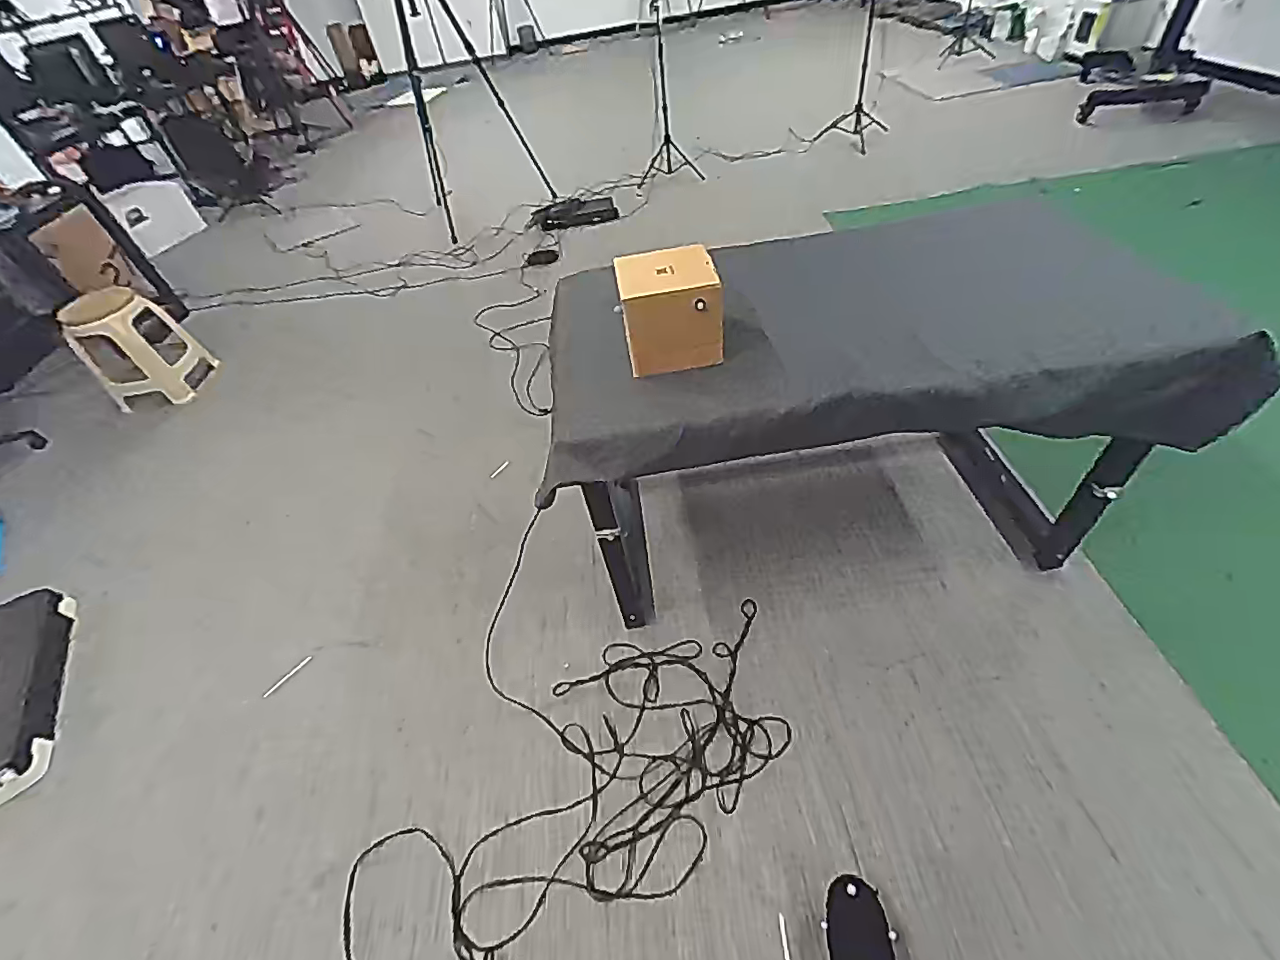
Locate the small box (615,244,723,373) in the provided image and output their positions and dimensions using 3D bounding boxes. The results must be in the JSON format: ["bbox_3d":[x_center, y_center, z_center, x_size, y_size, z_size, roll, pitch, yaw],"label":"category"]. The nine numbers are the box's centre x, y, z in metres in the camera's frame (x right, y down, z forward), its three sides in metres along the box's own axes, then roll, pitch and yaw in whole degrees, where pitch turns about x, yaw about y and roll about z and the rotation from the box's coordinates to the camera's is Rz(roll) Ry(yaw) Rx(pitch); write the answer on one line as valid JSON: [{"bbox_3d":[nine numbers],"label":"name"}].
[{"bbox_3d":[0.057,-0.321,1.028,0.179,0.176,0.168,-9,46,0],"label":"small box"}]
